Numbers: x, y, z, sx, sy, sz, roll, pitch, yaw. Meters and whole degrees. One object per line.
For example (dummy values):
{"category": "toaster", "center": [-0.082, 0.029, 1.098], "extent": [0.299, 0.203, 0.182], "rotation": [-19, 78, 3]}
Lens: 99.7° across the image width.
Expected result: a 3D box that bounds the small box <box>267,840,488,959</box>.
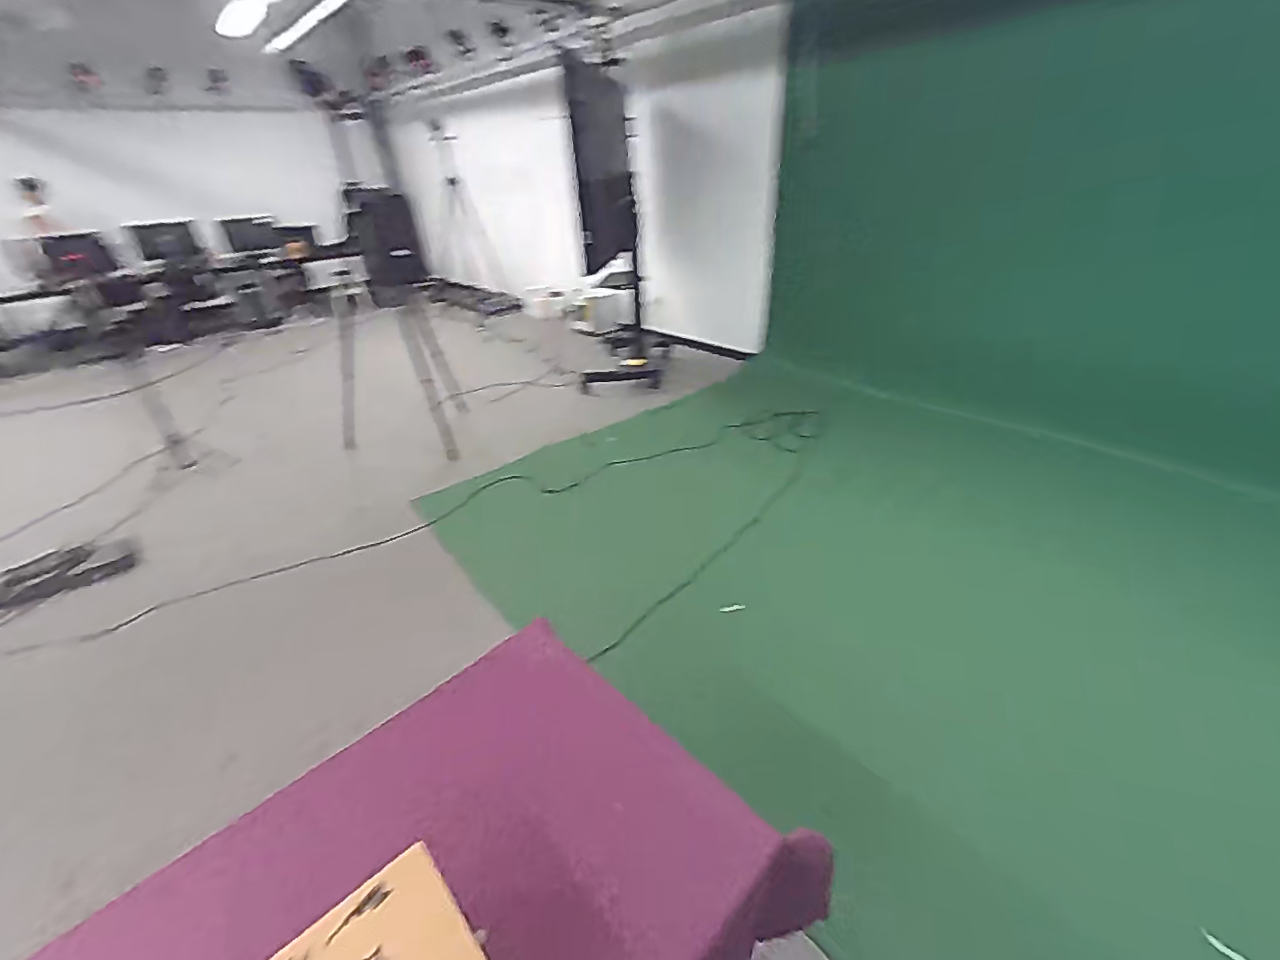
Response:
{"category": "small box", "center": [-0.251, 0.543, 0.568], "extent": [0.168, 0.176, 0.179], "rotation": [-27, 39, -35]}
